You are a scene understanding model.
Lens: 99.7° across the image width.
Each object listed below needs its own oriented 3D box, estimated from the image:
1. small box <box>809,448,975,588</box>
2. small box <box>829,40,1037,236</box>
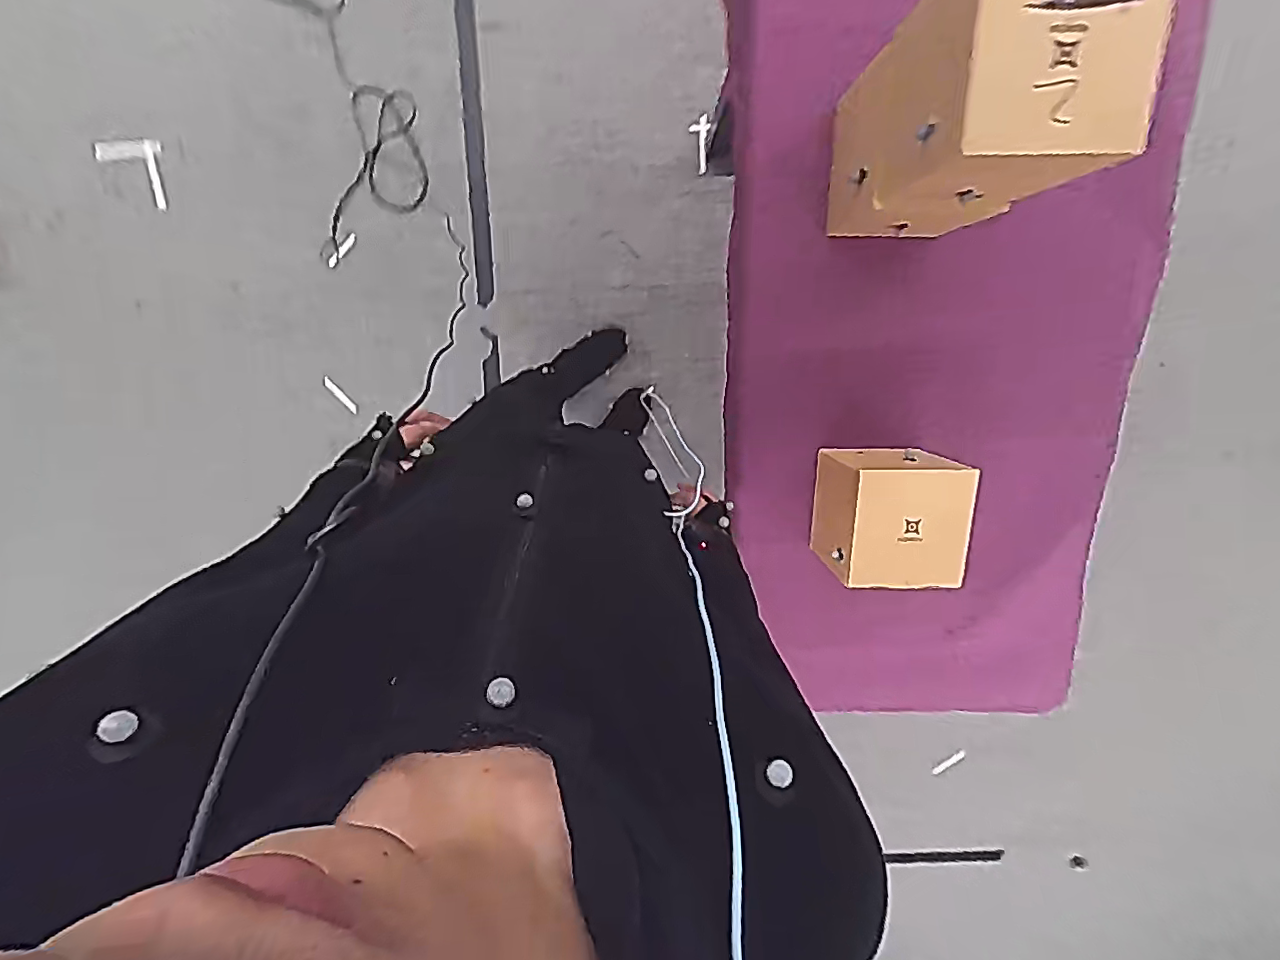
[{"bbox_3d":[0.368,0.049,0.823,0.168,0.176,0.179,0,105,-1],"label":"small box"},{"bbox_3d":[0.358,-0.423,0.700,0.168,0.176,0.179,1,105,-1],"label":"small box"}]
